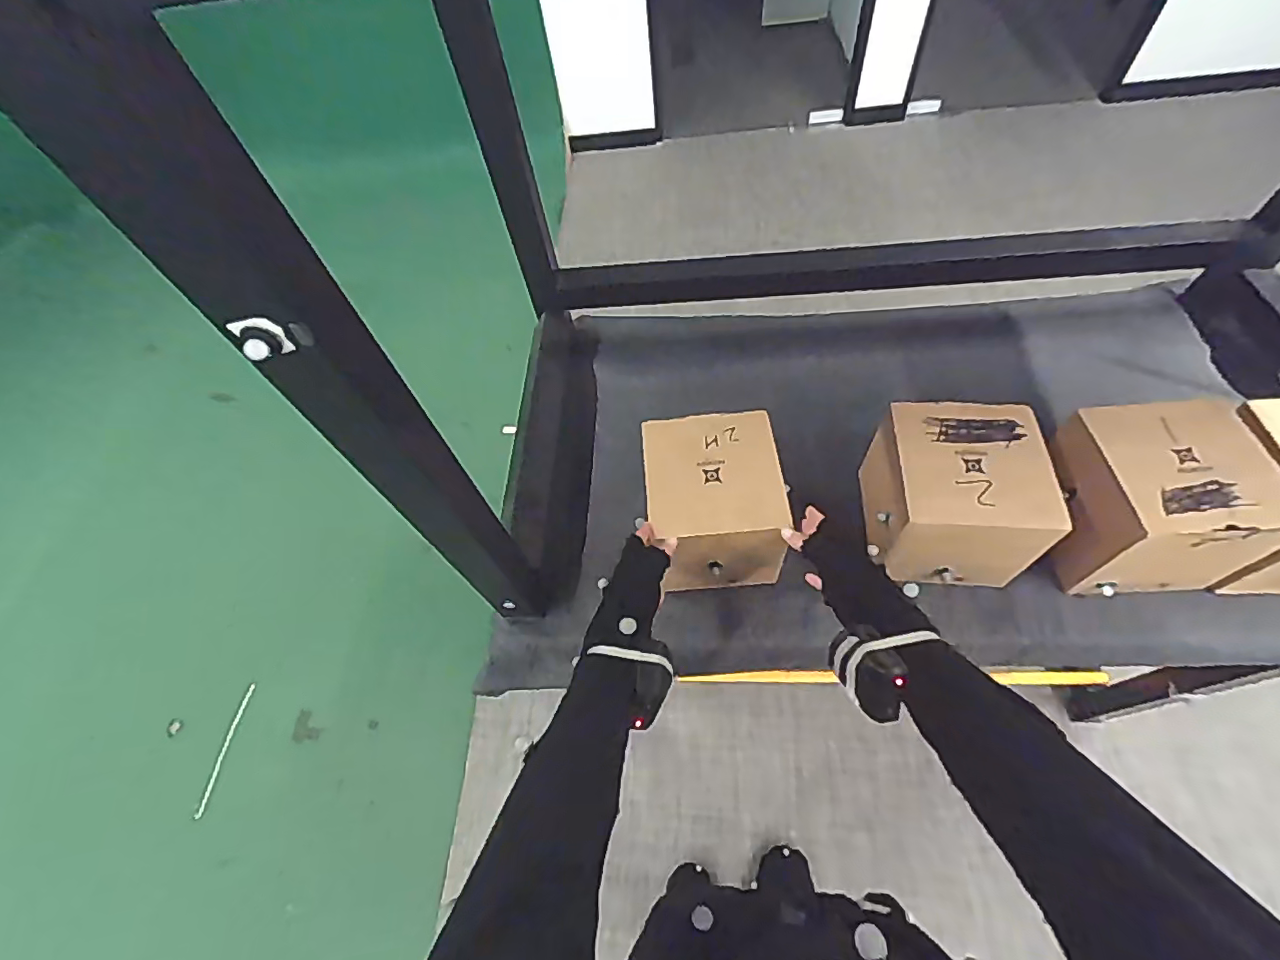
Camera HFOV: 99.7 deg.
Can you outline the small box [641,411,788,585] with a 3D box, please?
[{"bbox_3d":[0.093,0.033,0.724,0.168,0.176,0.179,-5,57,3],"label":"small box"}]
